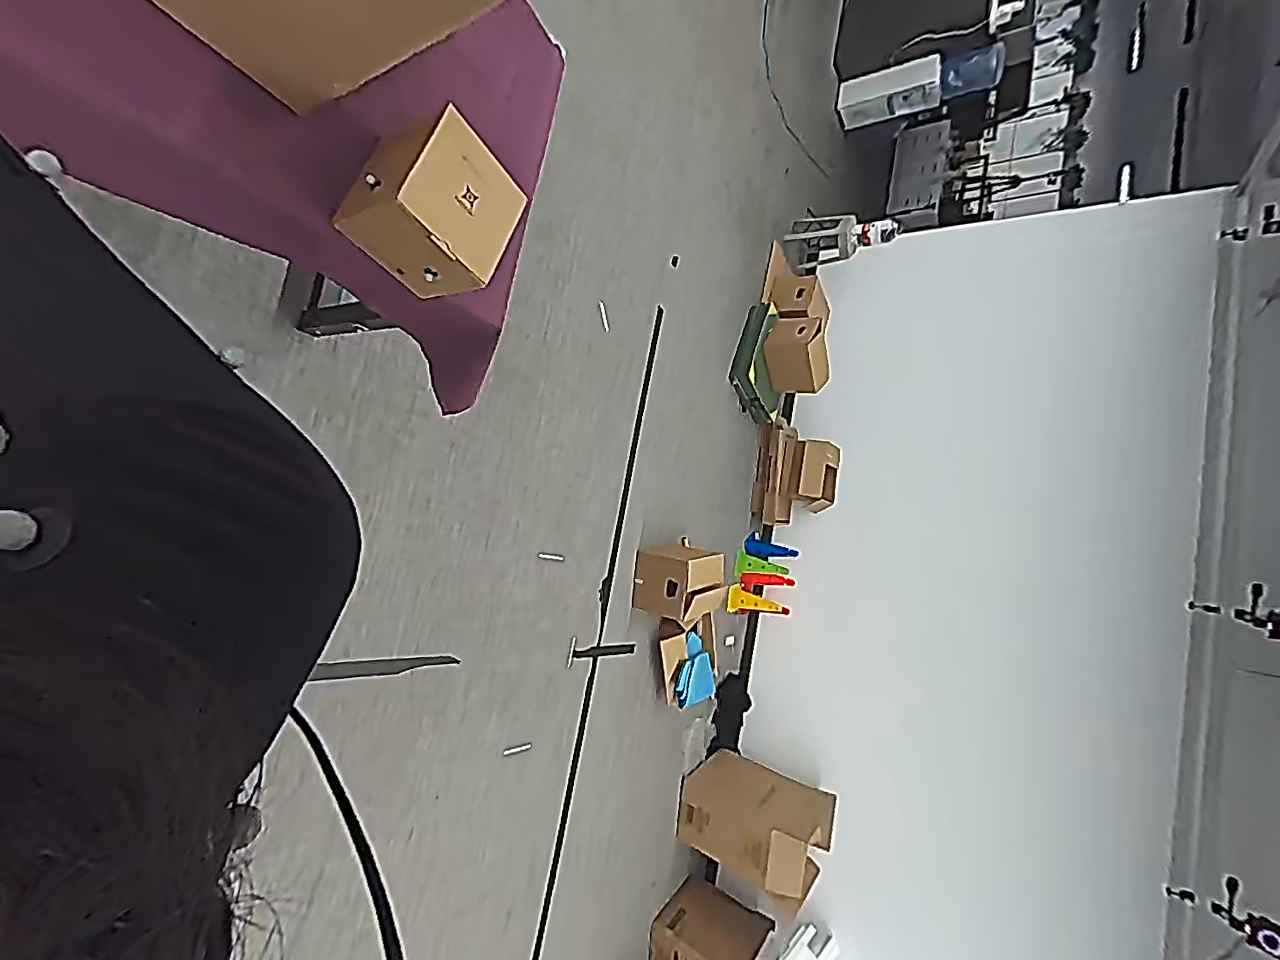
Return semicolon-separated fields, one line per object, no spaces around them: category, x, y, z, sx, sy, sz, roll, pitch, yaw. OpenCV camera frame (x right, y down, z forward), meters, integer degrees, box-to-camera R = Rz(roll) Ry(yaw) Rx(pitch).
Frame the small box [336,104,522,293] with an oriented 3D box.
small box;-0.315;-0.404;0.808;0.168;0.176;0.179;41;61;-52
